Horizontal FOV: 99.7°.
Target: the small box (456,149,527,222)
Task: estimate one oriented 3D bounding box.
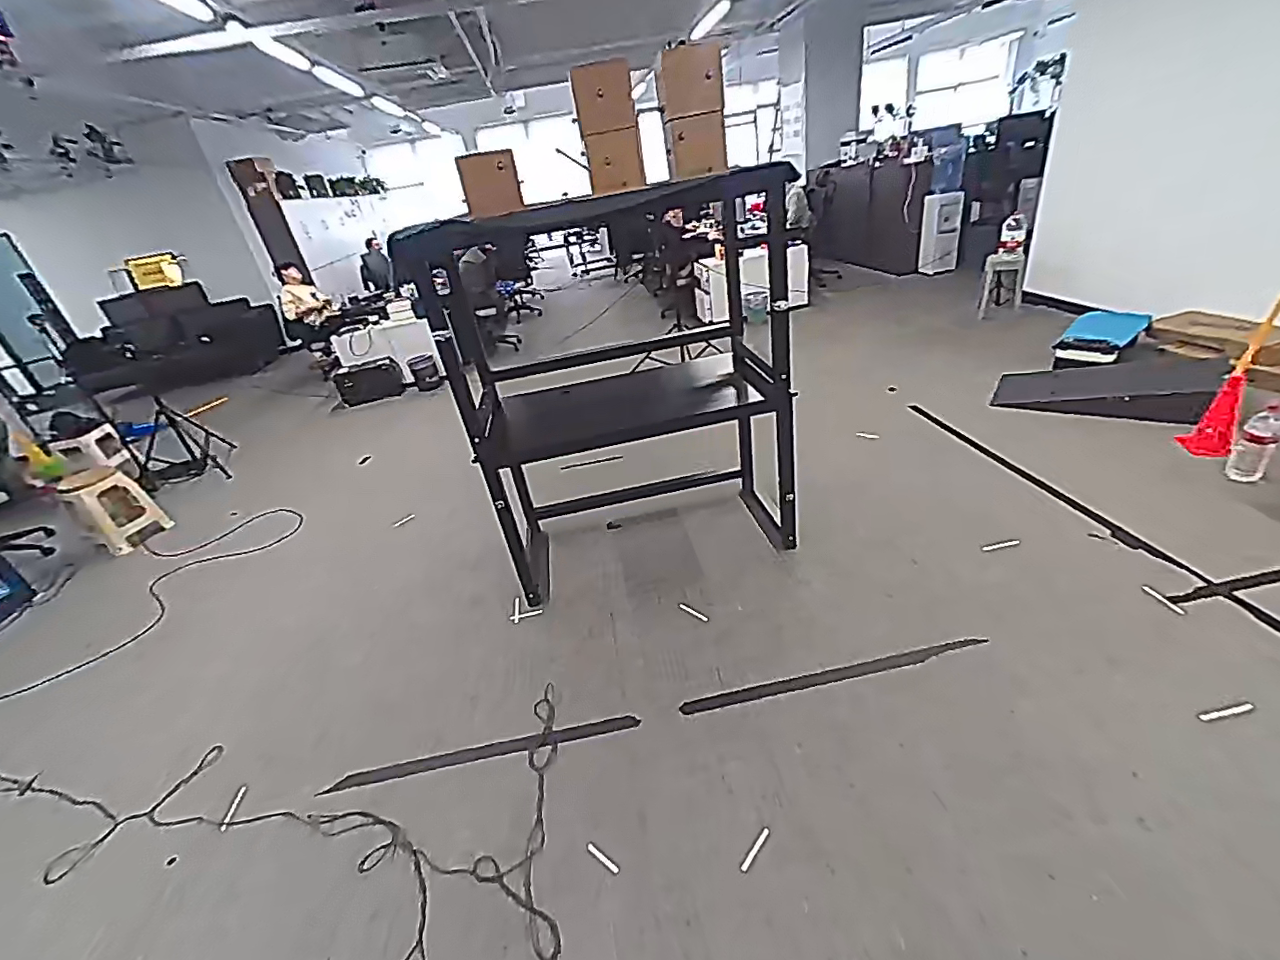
[{"bbox_3d":[-0.449,-0.903,1.666,0.179,0.176,0.168,-14,28,-6],"label":"small box"}]

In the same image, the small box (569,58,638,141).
[{"bbox_3d":[-0.105,-1.130,1.619,0.179,0.176,0.168,-12,27,1],"label":"small box"}]

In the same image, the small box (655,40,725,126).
[{"bbox_3d":[0.152,-1.177,1.617,0.179,0.176,0.168,-13,27,-1],"label":"small box"}]

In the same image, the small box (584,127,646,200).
[{"bbox_3d":[-0.078,-0.992,1.705,0.168,0.176,0.179,-11,28,0],"label":"small box"}]
